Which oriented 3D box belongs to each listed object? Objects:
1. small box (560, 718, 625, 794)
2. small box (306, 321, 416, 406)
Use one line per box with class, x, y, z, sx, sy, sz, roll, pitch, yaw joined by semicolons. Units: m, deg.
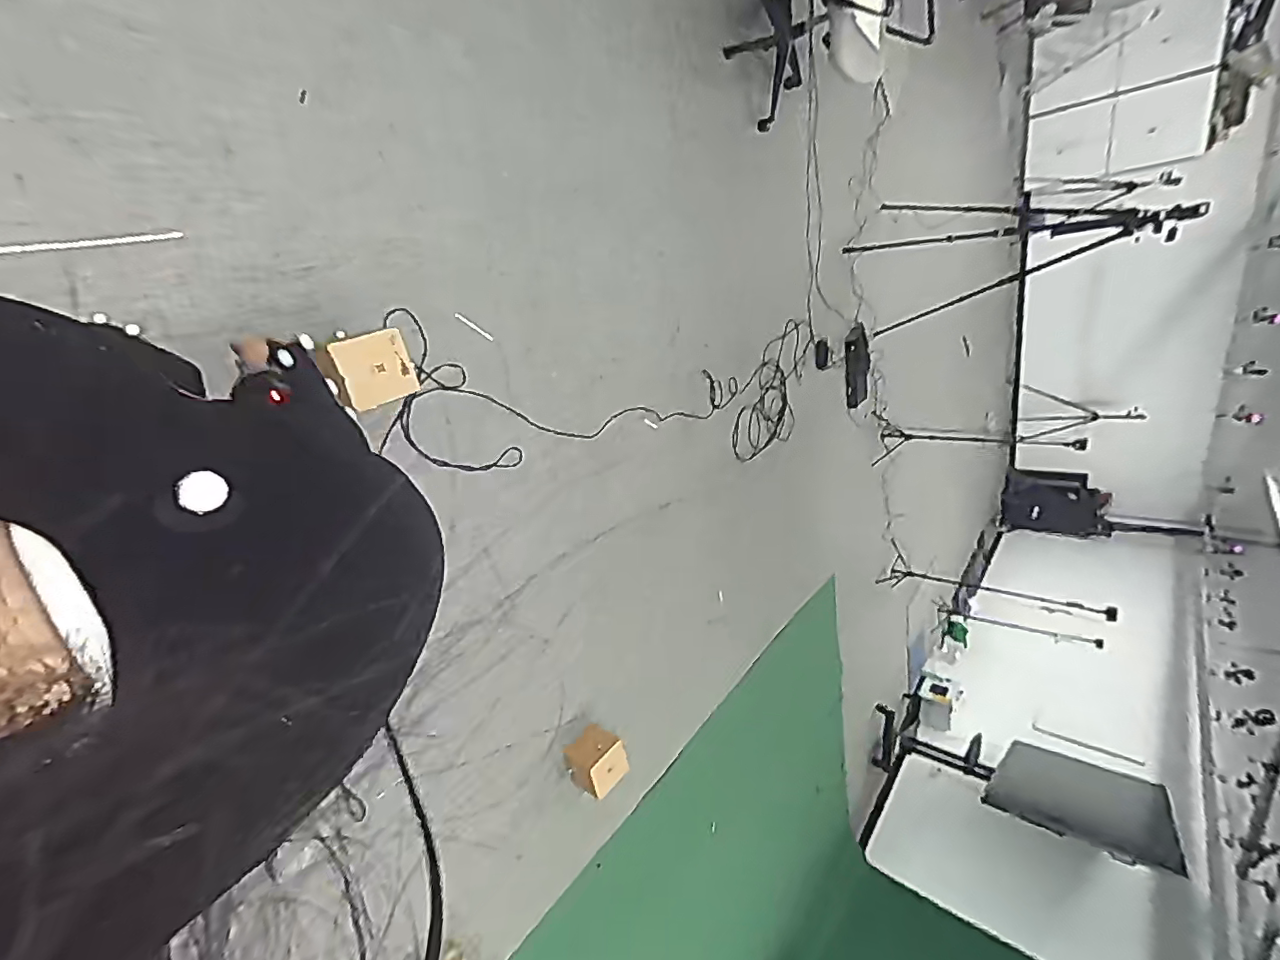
small box;-0.191;1.094;2.160;0.179;0.176;0.168;-32;118;-39
small box;-0.702;-0.289;1.348;0.179;0.176;0.168;-33;121;-39
